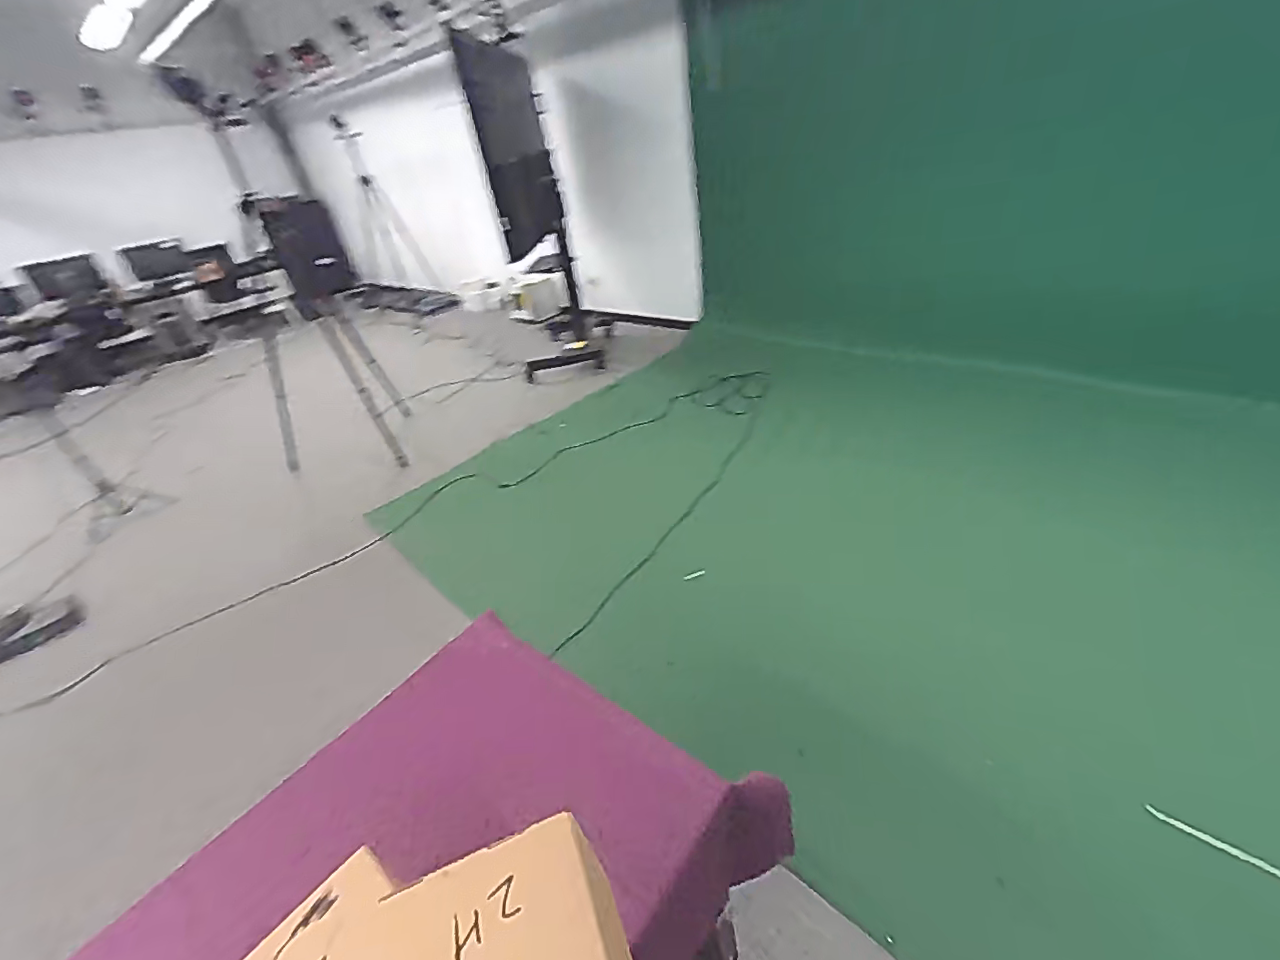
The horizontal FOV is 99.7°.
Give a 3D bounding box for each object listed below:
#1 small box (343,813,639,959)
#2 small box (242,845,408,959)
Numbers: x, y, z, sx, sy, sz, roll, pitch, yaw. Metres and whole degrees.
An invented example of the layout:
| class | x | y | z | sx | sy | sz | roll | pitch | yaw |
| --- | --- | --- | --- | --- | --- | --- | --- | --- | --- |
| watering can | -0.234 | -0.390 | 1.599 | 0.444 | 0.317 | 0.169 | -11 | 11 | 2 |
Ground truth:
| class | x | y | z | sx | sy | sz | roll | pitch | yaw |
| --- | --- | --- | --- | --- | --- | --- | --- | --- | --- |
| small box | -0.078 | 0.371 | 0.358 | 0.168 | 0.176 | 0.179 | -19 | 40 | -11 |
| small box | -0.296 | 0.554 | 0.580 | 0.179 | 0.176 | 0.168 | 20 | 43 | 36 |
